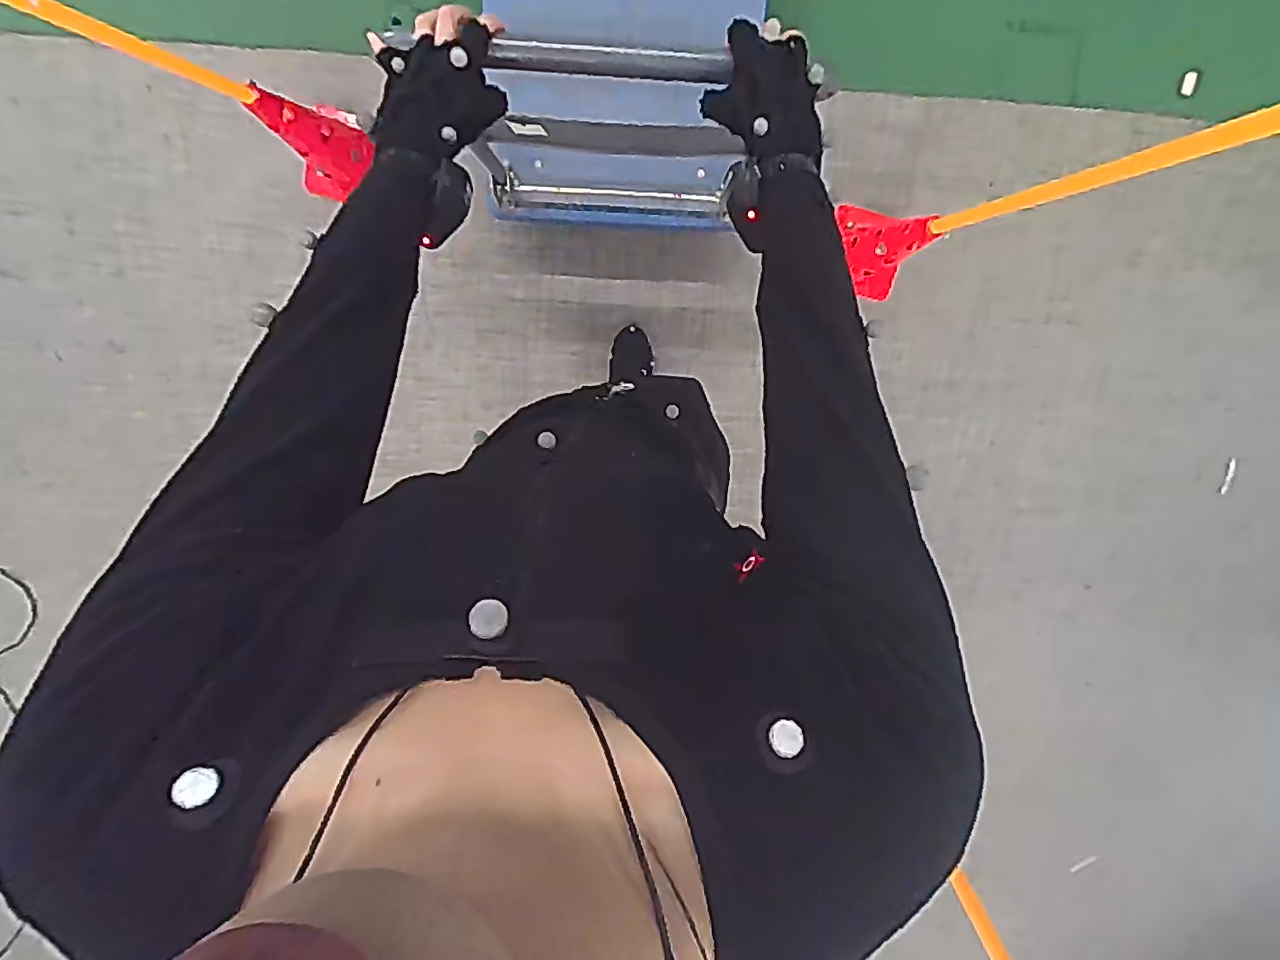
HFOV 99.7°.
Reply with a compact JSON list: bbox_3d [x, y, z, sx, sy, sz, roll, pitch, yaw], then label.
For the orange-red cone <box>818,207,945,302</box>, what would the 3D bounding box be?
[{"bbox_3d":[0.570,-0.528,1.210,0.198,0.360,0.199,14,104,-4],"label":"orange-red cone"}]
